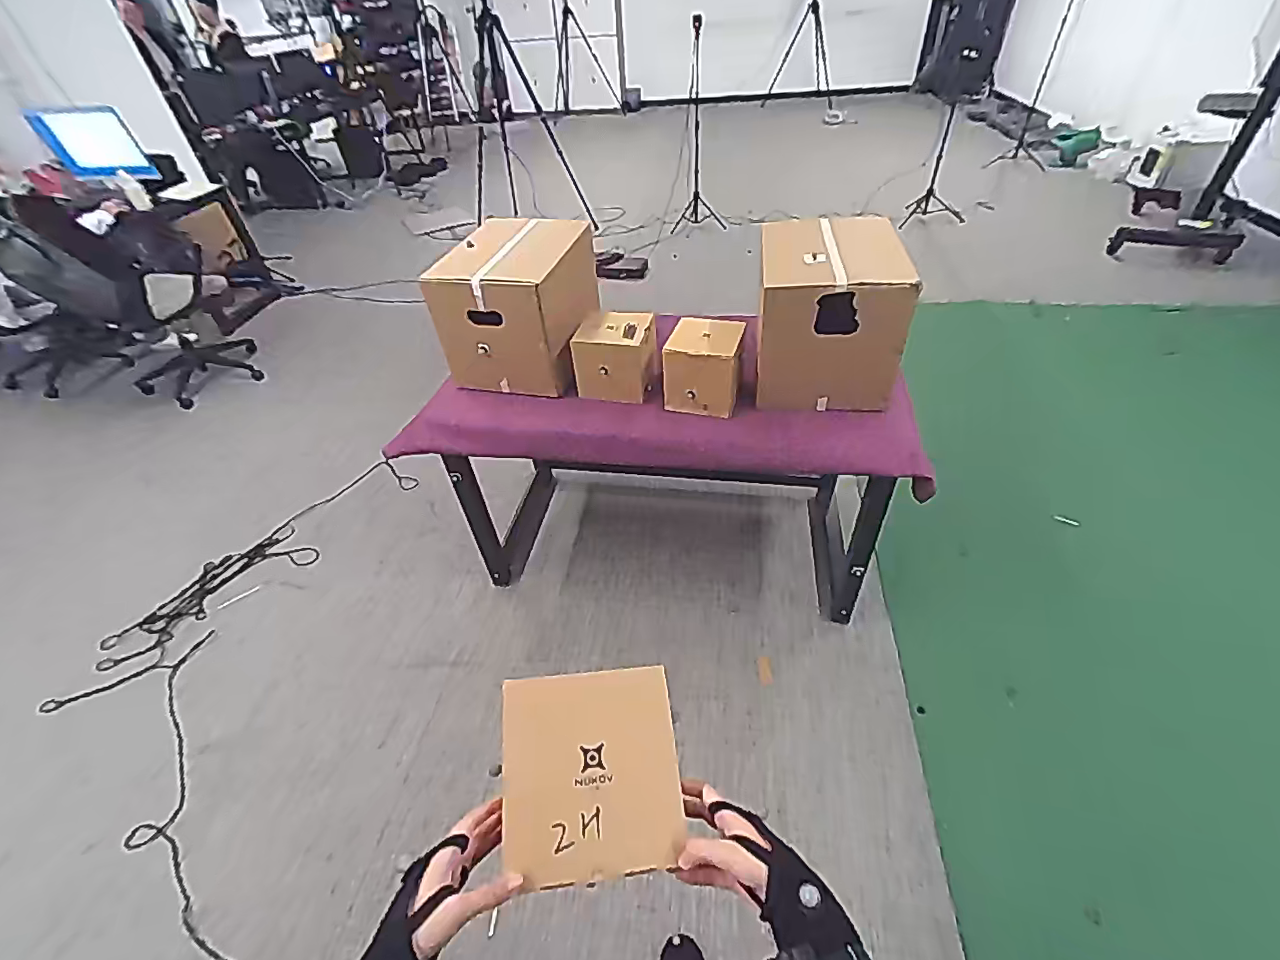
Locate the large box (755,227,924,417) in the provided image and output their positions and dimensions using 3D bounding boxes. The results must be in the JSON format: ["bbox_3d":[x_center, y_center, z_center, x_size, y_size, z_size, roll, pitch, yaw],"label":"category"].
[{"bbox_3d":[0.455,-0.398,1.341,0.320,0.320,0.408,2,43,11],"label":"large box"}]

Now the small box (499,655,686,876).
[{"bbox_3d":[-0.058,0.299,0.576,0.168,0.176,0.179,-1,60,-10],"label":"small box"}]
